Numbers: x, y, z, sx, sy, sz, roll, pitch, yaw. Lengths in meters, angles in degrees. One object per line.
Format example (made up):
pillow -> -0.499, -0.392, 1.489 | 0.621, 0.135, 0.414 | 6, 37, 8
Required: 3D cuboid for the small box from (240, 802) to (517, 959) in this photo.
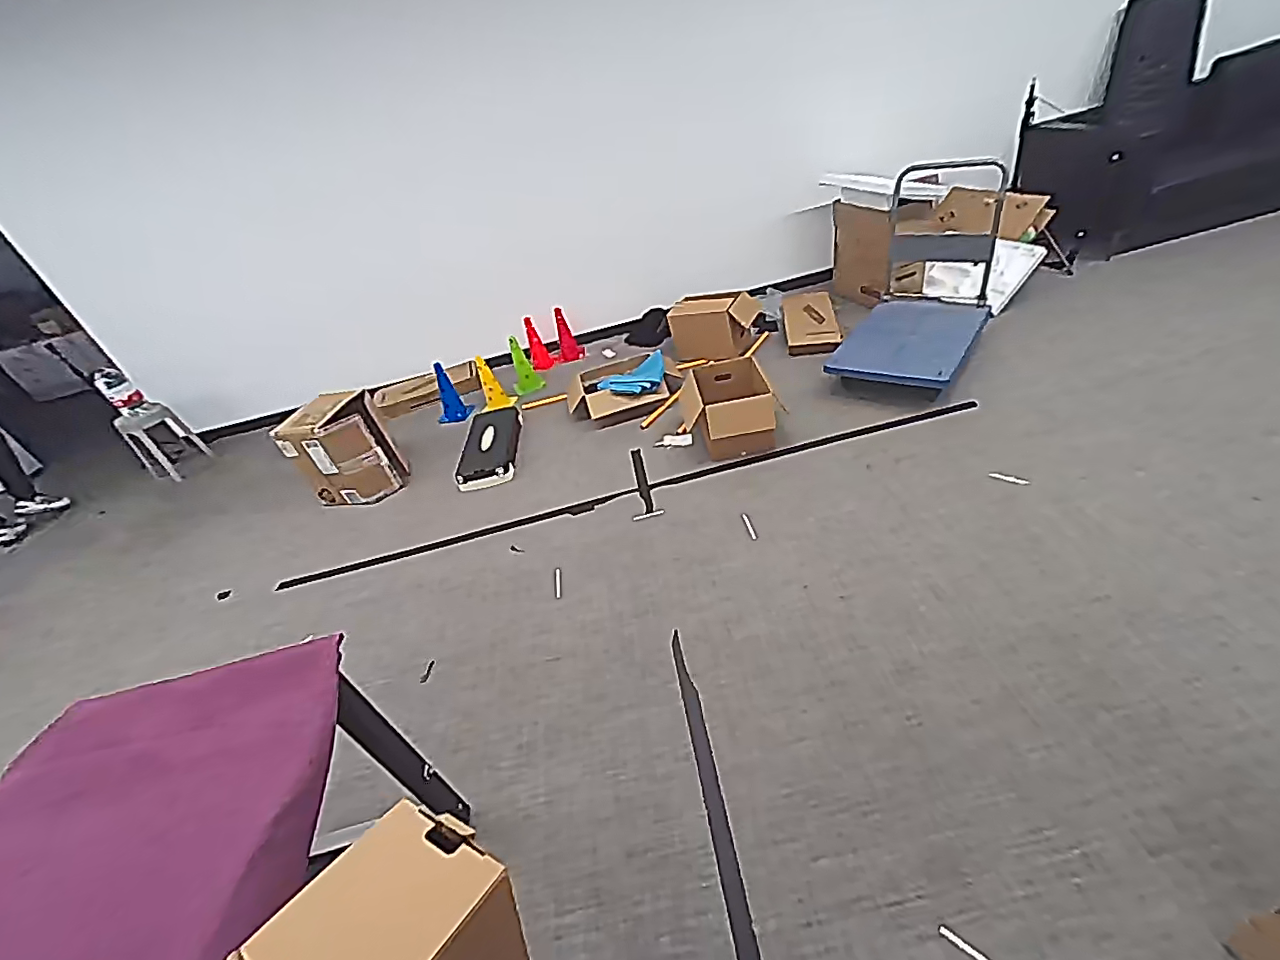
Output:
small box -> -0.237, 0.476, 0.529 | 0.168, 0.176, 0.179 | 9, 23, 32
